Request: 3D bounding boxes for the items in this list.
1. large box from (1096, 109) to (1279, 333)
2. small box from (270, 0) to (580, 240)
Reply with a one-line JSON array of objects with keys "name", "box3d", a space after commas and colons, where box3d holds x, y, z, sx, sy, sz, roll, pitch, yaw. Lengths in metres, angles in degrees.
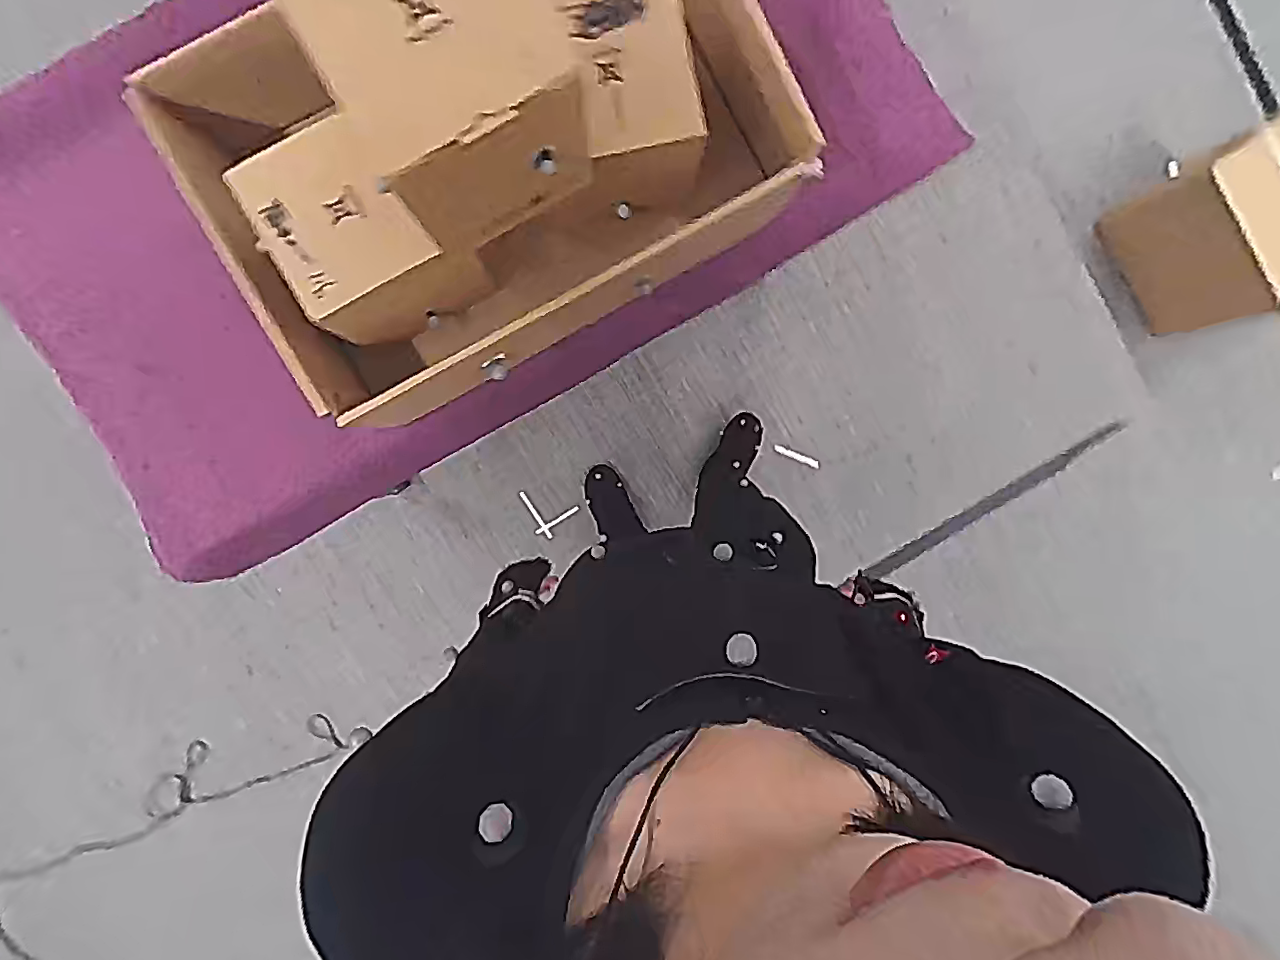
[{"name": "large box", "box3d": [1.540, -0.661, 1.419, 0.320, 0.320, 0.408, -34, 96, 0]}, {"name": "small box", "box3d": [-0.160, -0.328, 0.446, 0.168, 0.176, 0.179, -32, 94, -2]}]
